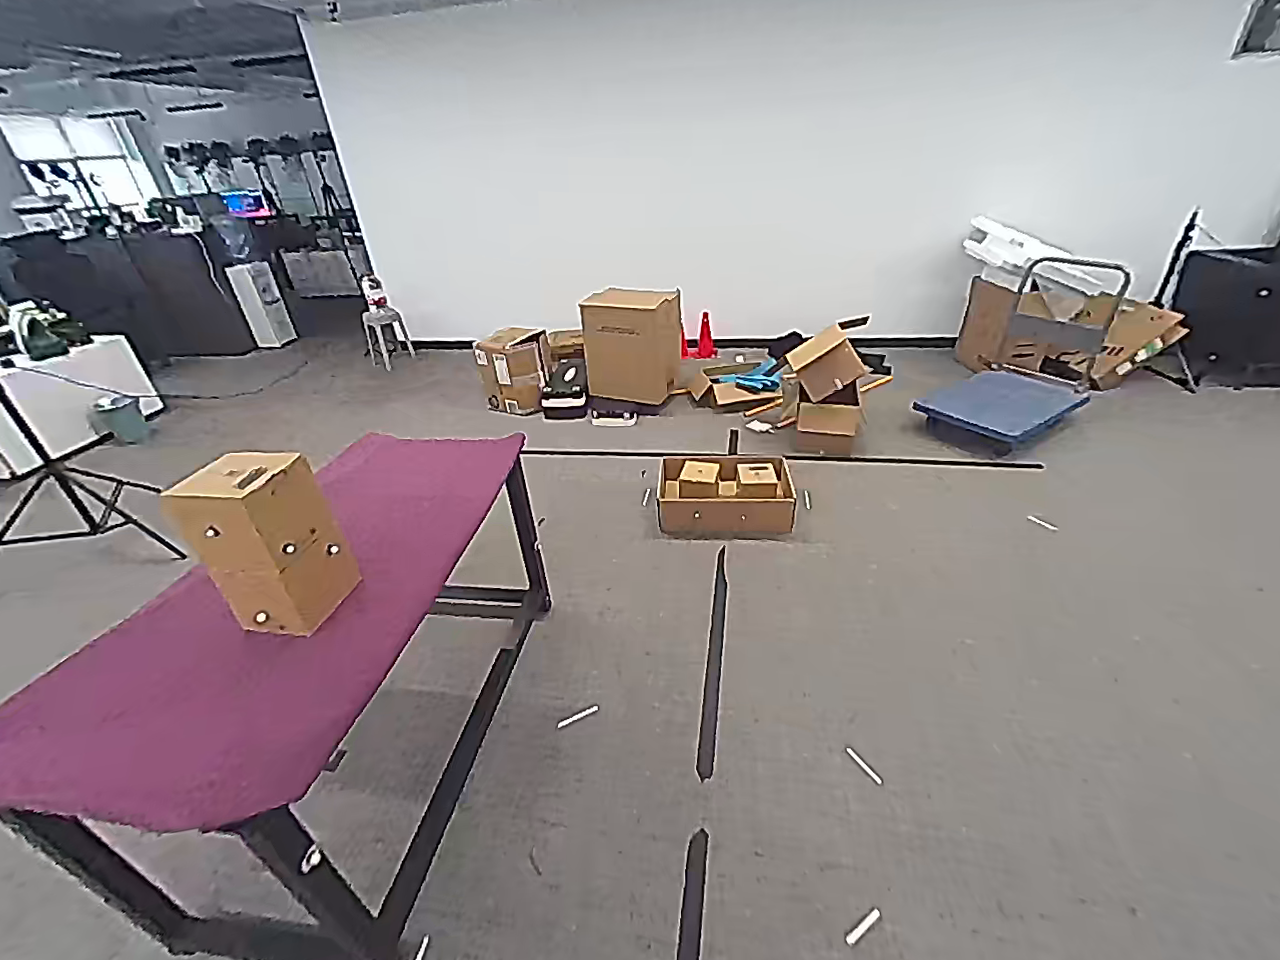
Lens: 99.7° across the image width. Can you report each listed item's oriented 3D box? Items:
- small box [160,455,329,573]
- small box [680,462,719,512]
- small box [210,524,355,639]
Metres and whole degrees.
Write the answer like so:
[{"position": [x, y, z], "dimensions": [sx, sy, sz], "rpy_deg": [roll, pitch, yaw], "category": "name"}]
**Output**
[{"position": [-0.754, 0.065, 1.056], "dimensions": [0.179, 0.176, 0.168], "rpy_deg": [1, 31, 10], "category": "small box"}, {"position": [0.284, 0.033, 2.594], "dimensions": [0.168, 0.176, 0.179], "rpy_deg": [6, 33, 14], "category": "small box"}, {"position": [-0.735, 0.206, 1.140], "dimensions": [0.168, 0.176, 0.179], "rpy_deg": [2, 32, 11], "category": "small box"}]
